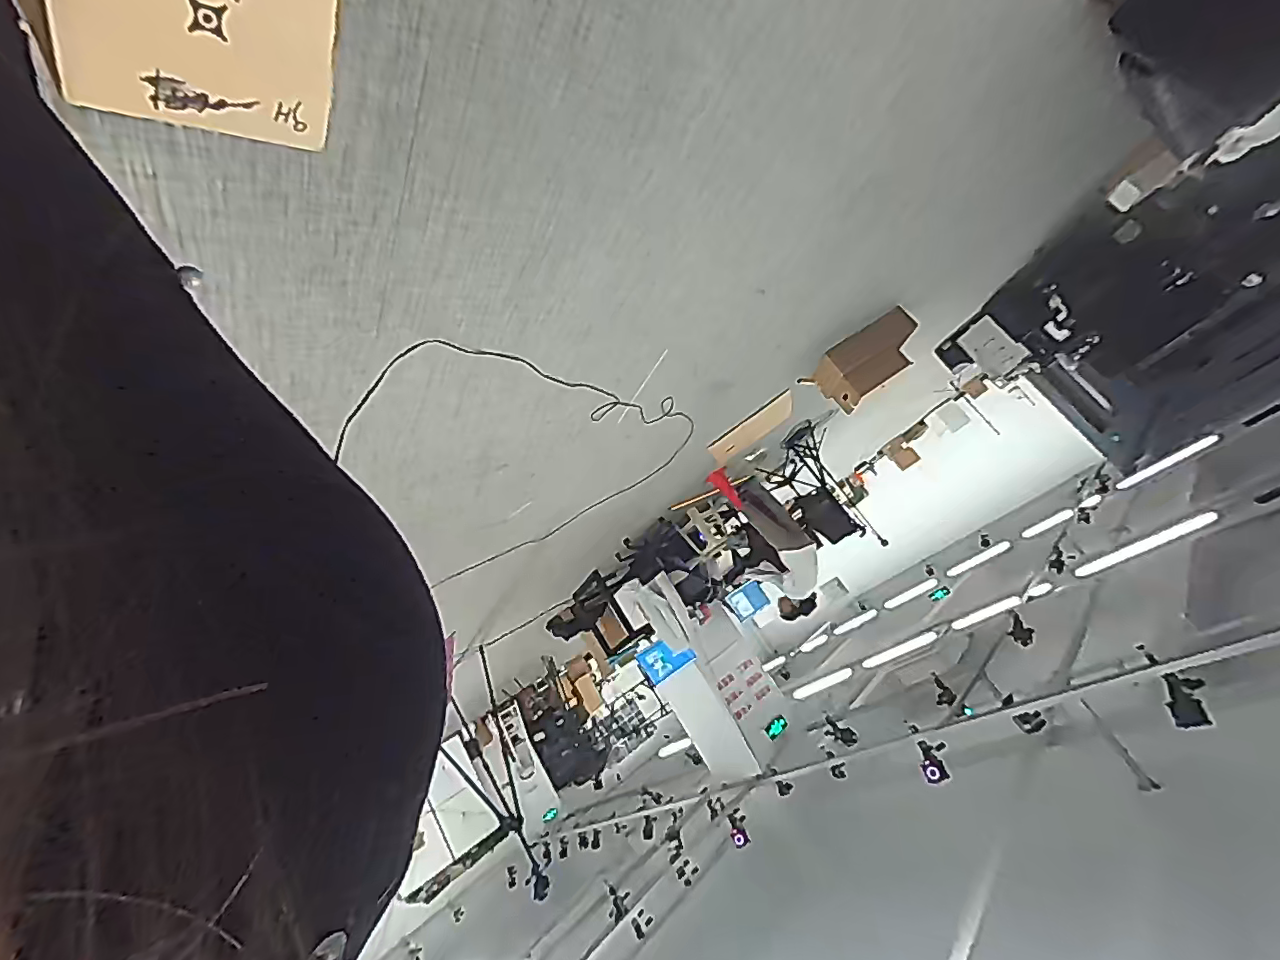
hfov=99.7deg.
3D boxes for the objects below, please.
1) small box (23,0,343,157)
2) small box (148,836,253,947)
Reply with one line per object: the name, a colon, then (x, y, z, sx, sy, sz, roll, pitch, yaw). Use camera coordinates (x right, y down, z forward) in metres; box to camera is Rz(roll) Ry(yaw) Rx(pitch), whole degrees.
small box: (-0.341, -0.383, 0.395, 0.168, 0.176, 0.179, -18, 156, -45)
small box: (-1.177, 1.099, 1.457, 0.179, 0.176, 0.168, -19, 158, -40)
